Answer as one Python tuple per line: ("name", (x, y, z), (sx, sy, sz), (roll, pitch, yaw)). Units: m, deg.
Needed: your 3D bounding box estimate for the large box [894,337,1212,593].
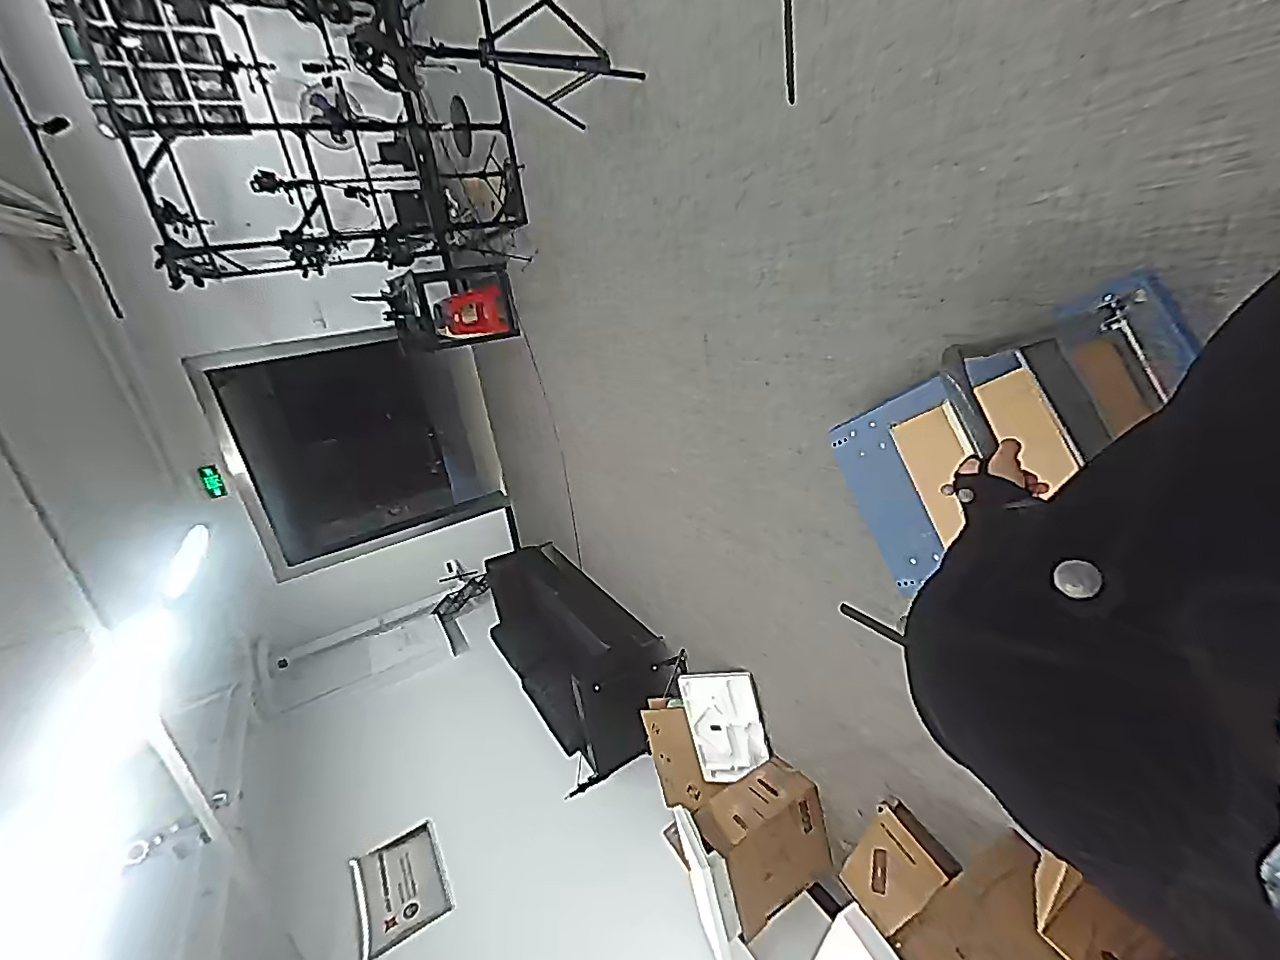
("large box", (0.823, -0.023, 1.109), (0.320, 0.320, 0.408), (-37, 73, 62))
